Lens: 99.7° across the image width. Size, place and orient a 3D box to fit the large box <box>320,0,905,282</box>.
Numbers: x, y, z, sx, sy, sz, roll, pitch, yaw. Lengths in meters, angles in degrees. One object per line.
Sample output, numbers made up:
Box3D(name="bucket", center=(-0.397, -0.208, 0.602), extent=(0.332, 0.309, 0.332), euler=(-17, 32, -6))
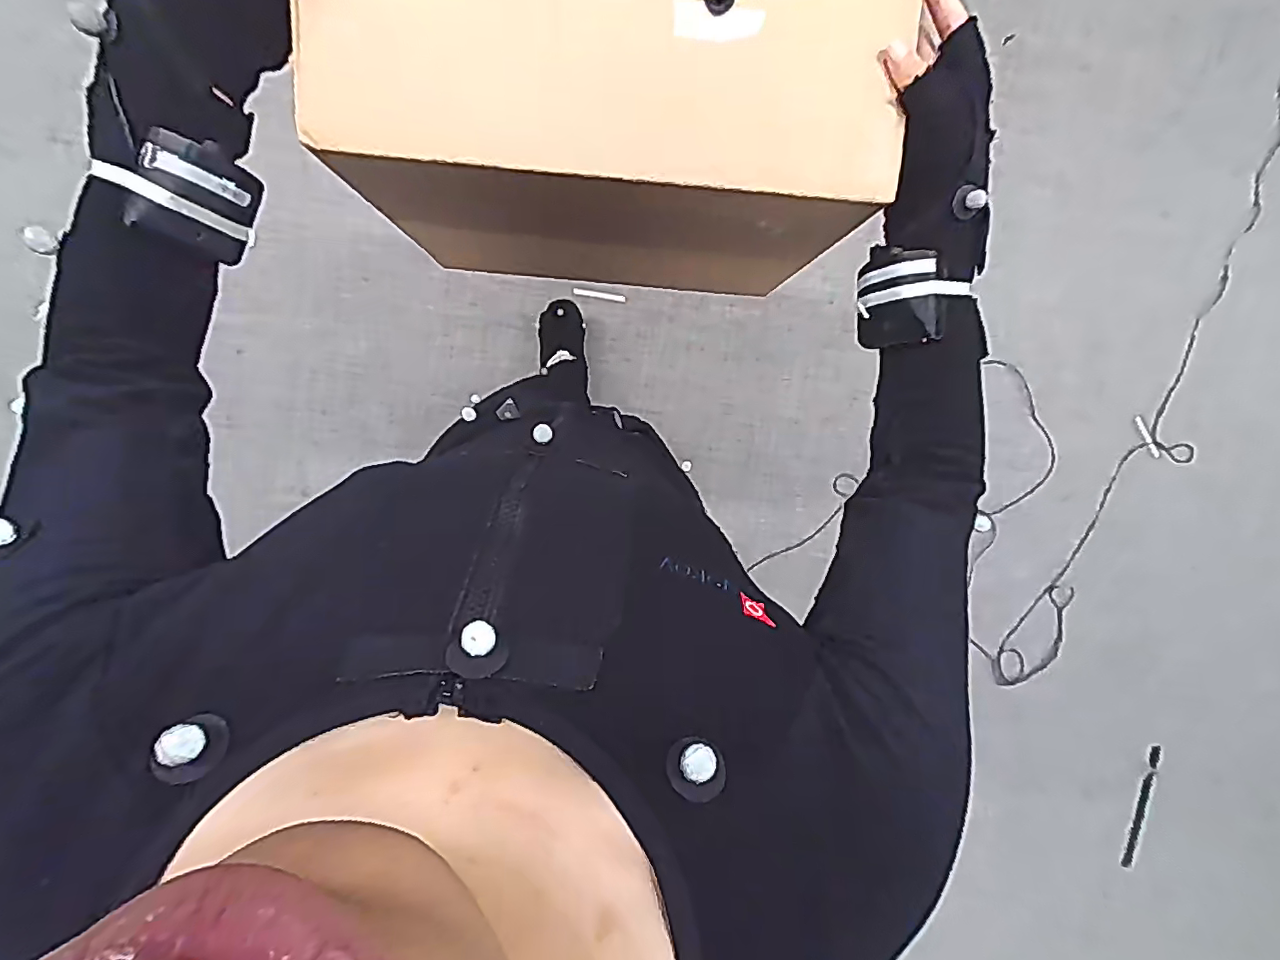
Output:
Box3D(name="large box", center=(-0.021, -0.392, 0.509), extent=(0.408, 0.320, 0.320), euler=(3, 97, -5))
